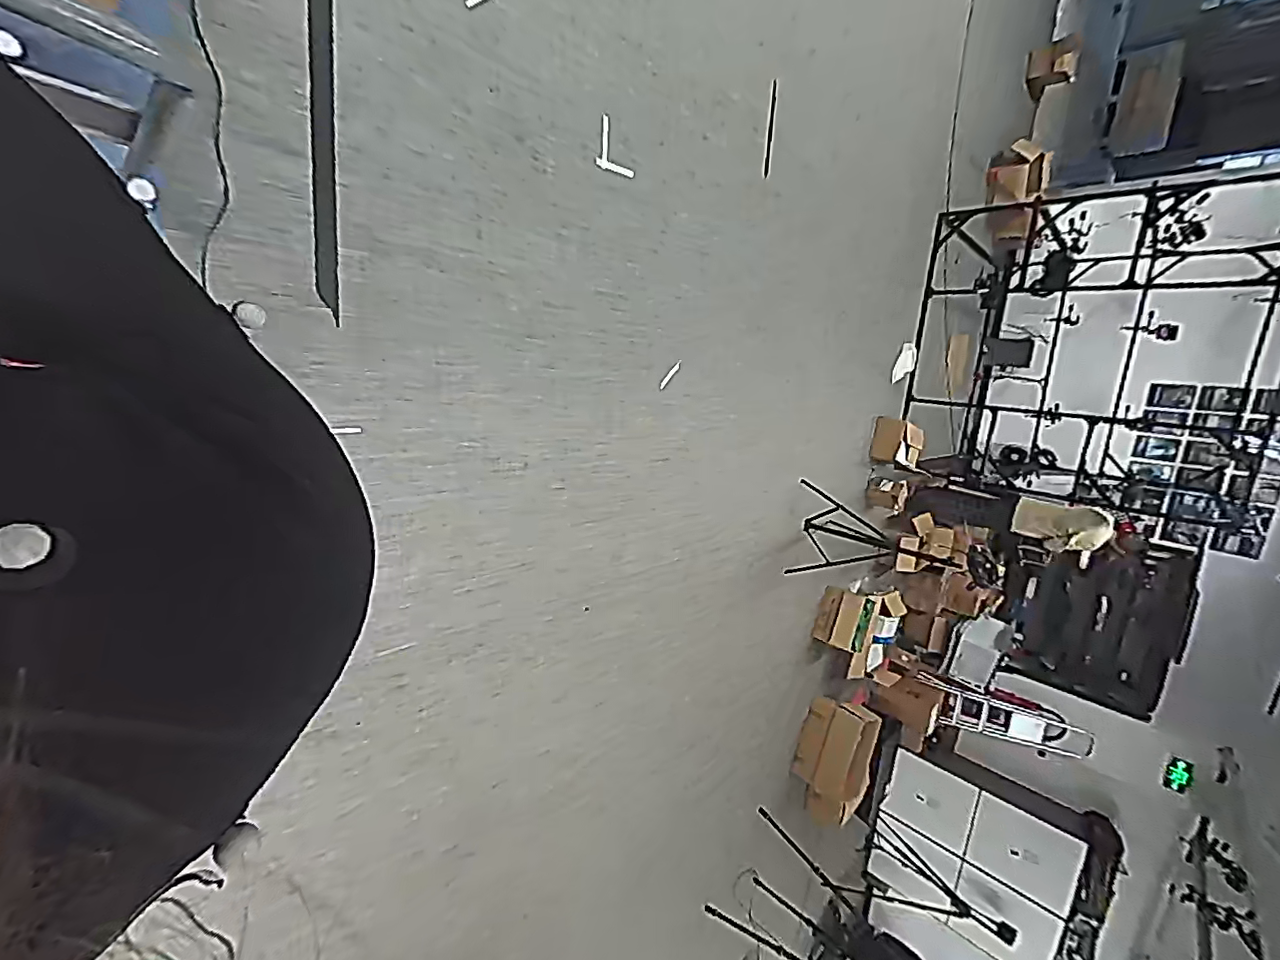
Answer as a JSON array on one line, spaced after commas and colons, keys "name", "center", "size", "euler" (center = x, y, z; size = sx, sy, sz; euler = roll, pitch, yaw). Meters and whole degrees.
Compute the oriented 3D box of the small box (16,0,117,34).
[{"name": "small box", "center": [-0.839, -0.765, 0.739], "size": [0.179, 0.176, 0.168], "euler": [-3, 104, -47]}]
